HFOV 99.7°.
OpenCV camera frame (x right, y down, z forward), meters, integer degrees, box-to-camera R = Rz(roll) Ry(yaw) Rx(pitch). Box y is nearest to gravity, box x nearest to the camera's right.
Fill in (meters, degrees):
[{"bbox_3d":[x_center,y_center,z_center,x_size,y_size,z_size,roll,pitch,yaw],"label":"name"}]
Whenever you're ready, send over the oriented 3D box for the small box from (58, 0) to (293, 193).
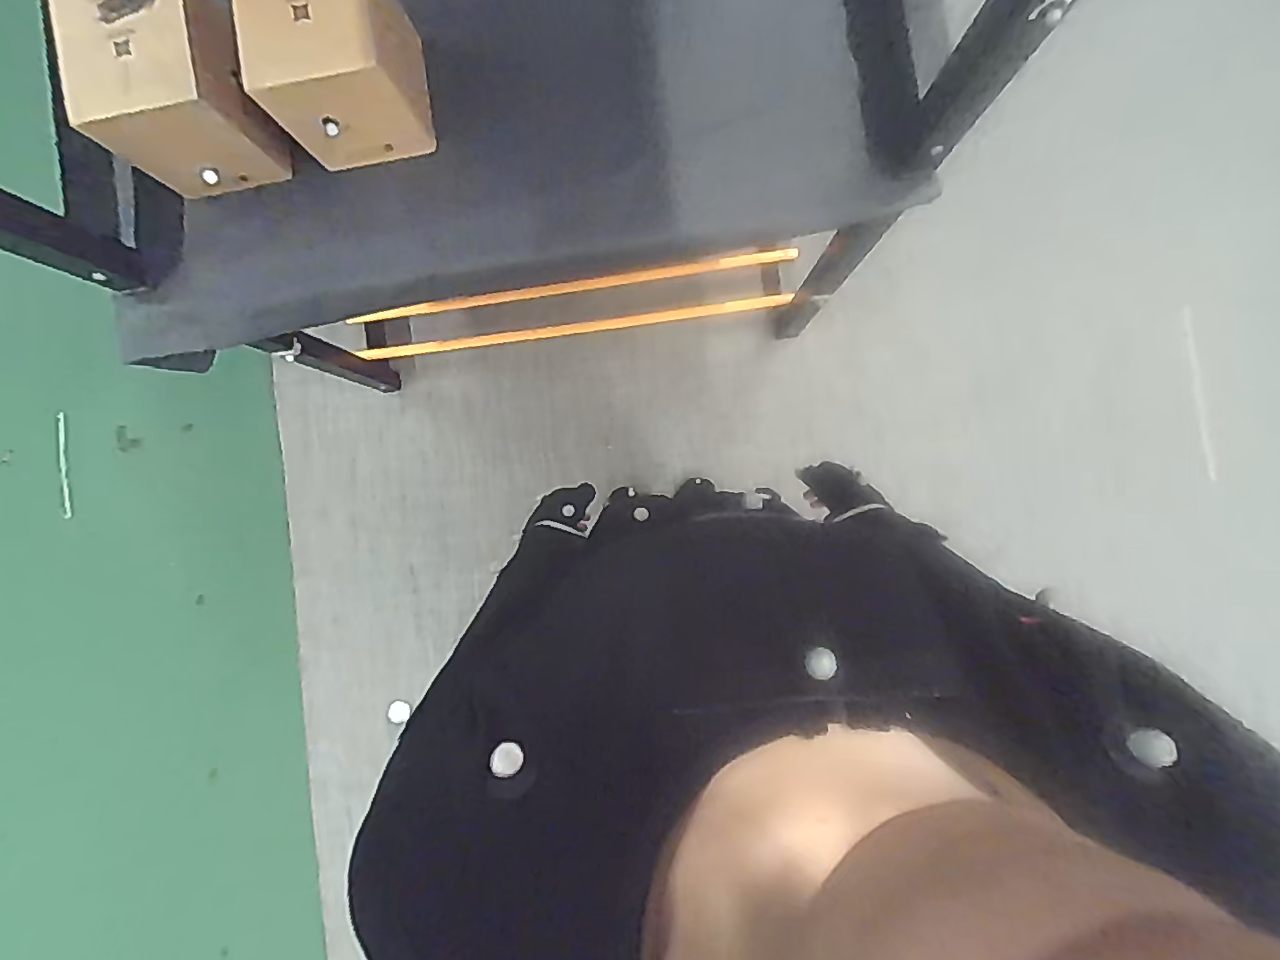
[{"bbox_3d":[-0.606,-0.525,0.726,0.168,0.176,0.179,-9,89,3],"label":"small box"}]
